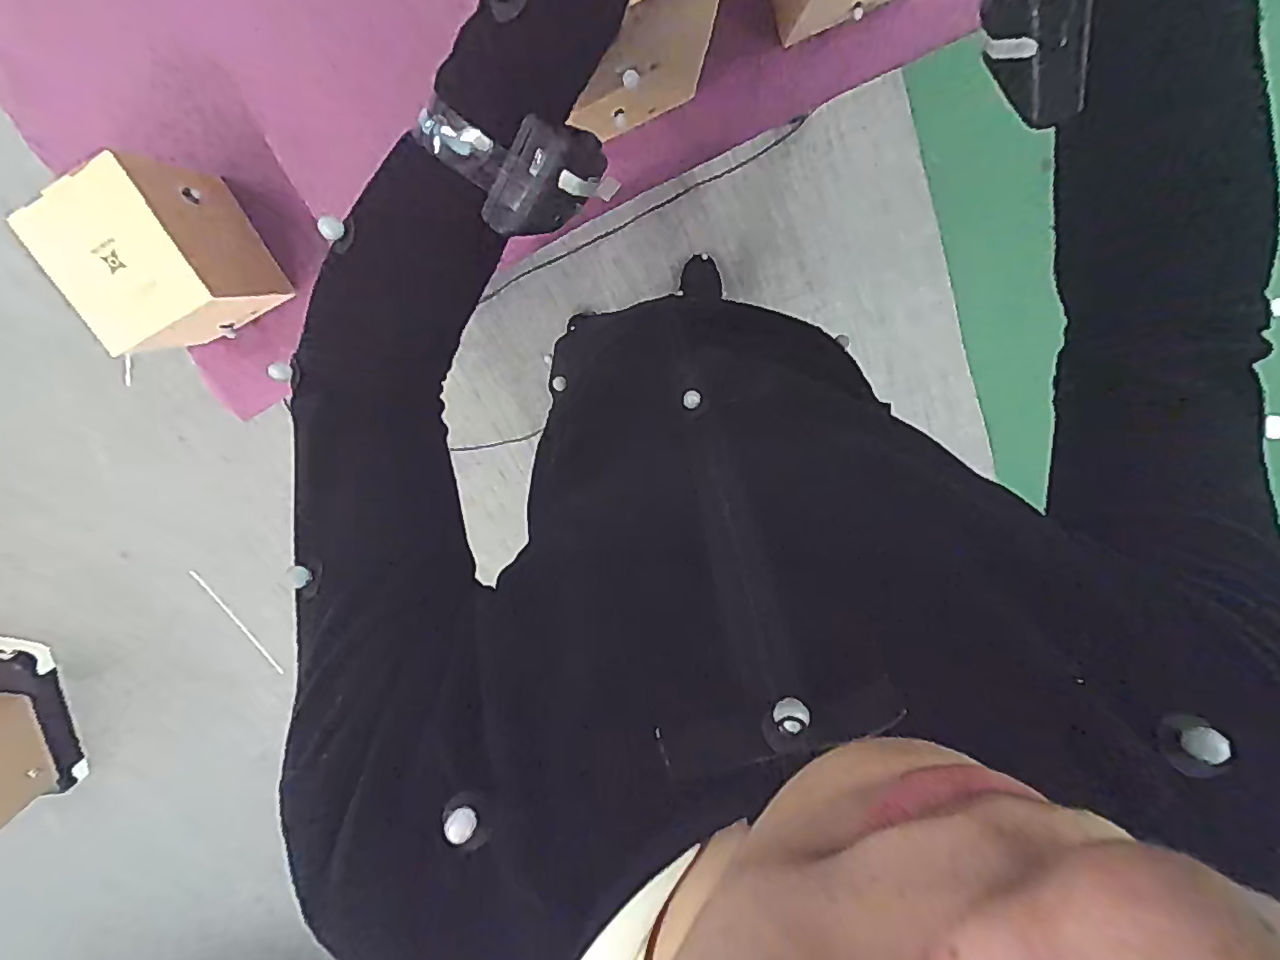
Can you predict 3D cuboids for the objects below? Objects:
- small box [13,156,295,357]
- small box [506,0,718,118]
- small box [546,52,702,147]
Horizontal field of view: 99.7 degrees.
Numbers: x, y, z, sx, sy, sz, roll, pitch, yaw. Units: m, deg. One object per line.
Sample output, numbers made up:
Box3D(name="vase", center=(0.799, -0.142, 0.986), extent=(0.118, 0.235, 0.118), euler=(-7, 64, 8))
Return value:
Box3D(name="small box", center=(-0.614, -0.282, 0.711), extent=(0.168, 0.176, 0.179), euler=(-23, 108, 10))
Box3D(name="small box", center=(-0.041, -0.456, 0.462), extent=(0.168, 0.176, 0.179), euler=(-21, 108, 9))
Box3D(name="small box", center=(-0.037, -0.510, 0.617), extent=(0.168, 0.176, 0.179), euler=(-21, 107, 9))
